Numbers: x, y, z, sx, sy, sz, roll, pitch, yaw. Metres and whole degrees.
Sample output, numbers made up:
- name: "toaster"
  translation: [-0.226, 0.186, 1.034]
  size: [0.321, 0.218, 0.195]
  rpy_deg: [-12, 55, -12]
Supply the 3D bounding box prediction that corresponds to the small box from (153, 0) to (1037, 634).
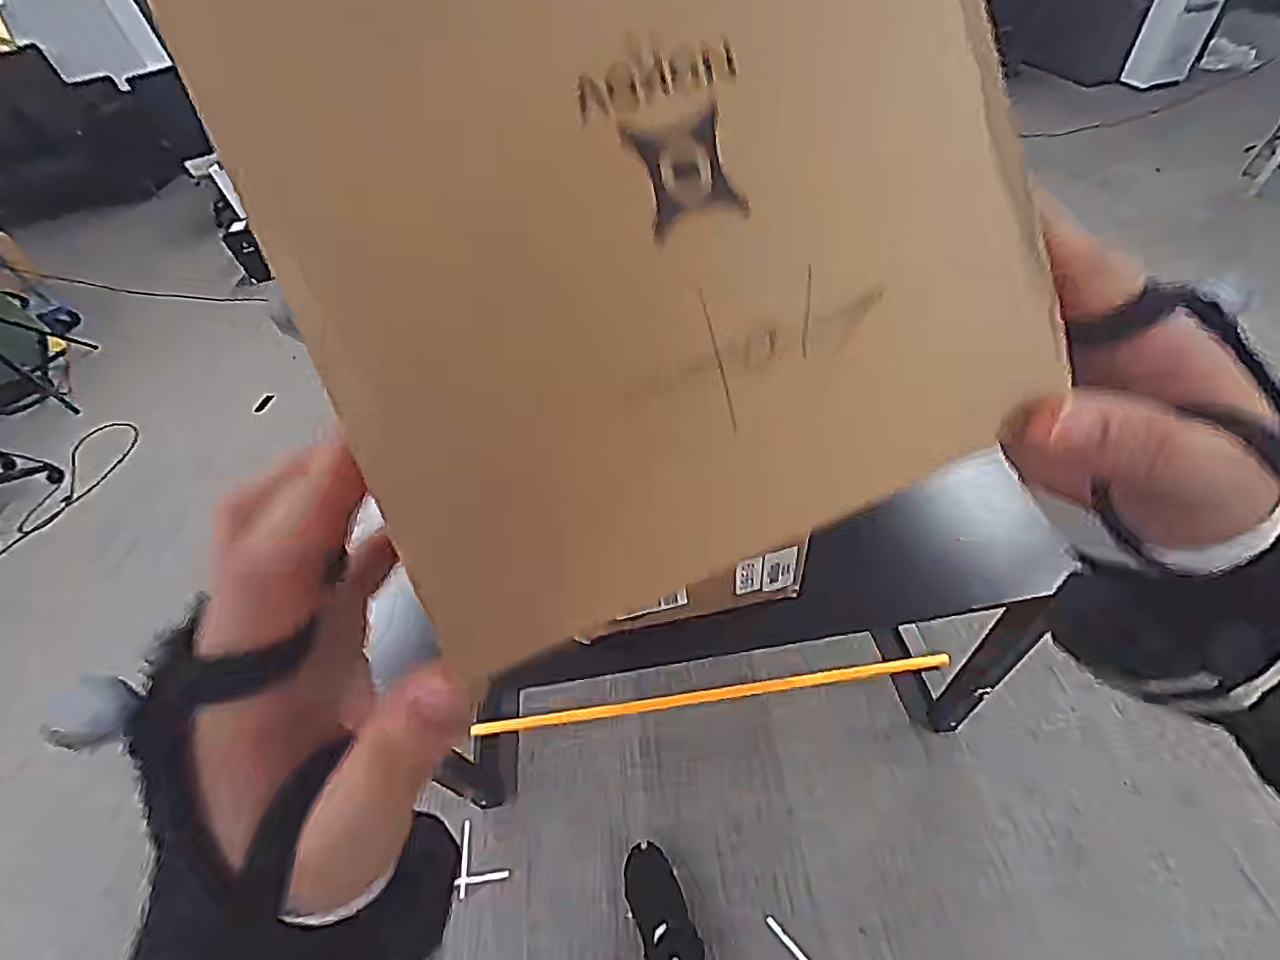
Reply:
- name: "small box"
  translation: [-0.016, -0.079, 0.194]
  size: [0.168, 0.179, 0.176]
  rpy_deg: [-22, 9, -11]
